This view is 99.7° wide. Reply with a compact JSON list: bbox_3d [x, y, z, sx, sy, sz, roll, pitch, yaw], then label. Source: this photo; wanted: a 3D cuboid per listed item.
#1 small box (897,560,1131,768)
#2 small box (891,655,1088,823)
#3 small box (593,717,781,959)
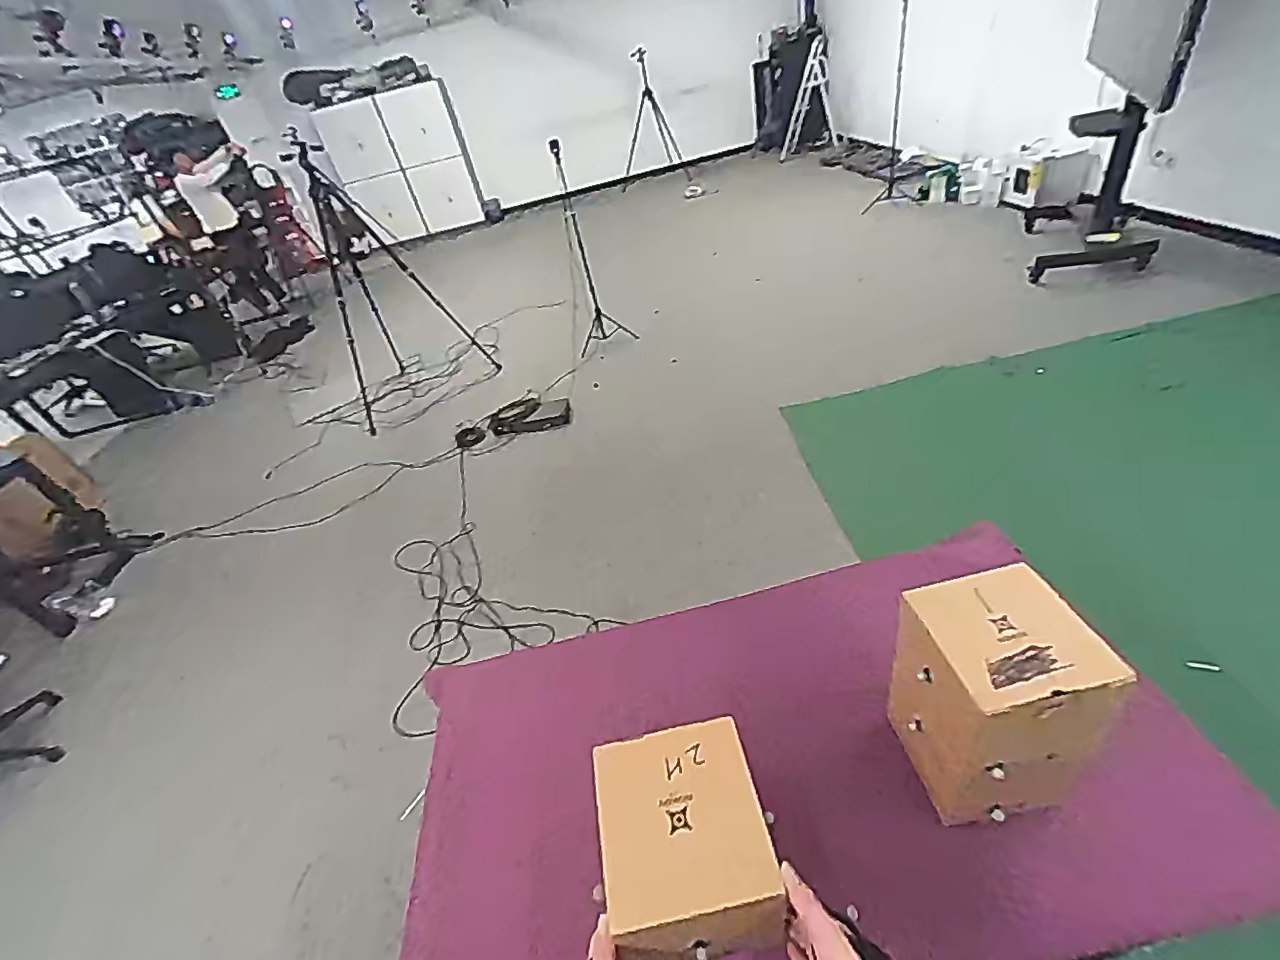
[{"bbox_3d":[0.445,0.235,0.680,0.168,0.176,0.179,-15,36,3],"label":"small box"},{"bbox_3d":[0.482,0.358,0.782,0.168,0.176,0.179,-14,38,4],"label":"small box"},{"bbox_3d":[0.049,0.398,0.592,0.168,0.176,0.179,-12,37,-2],"label":"small box"}]
